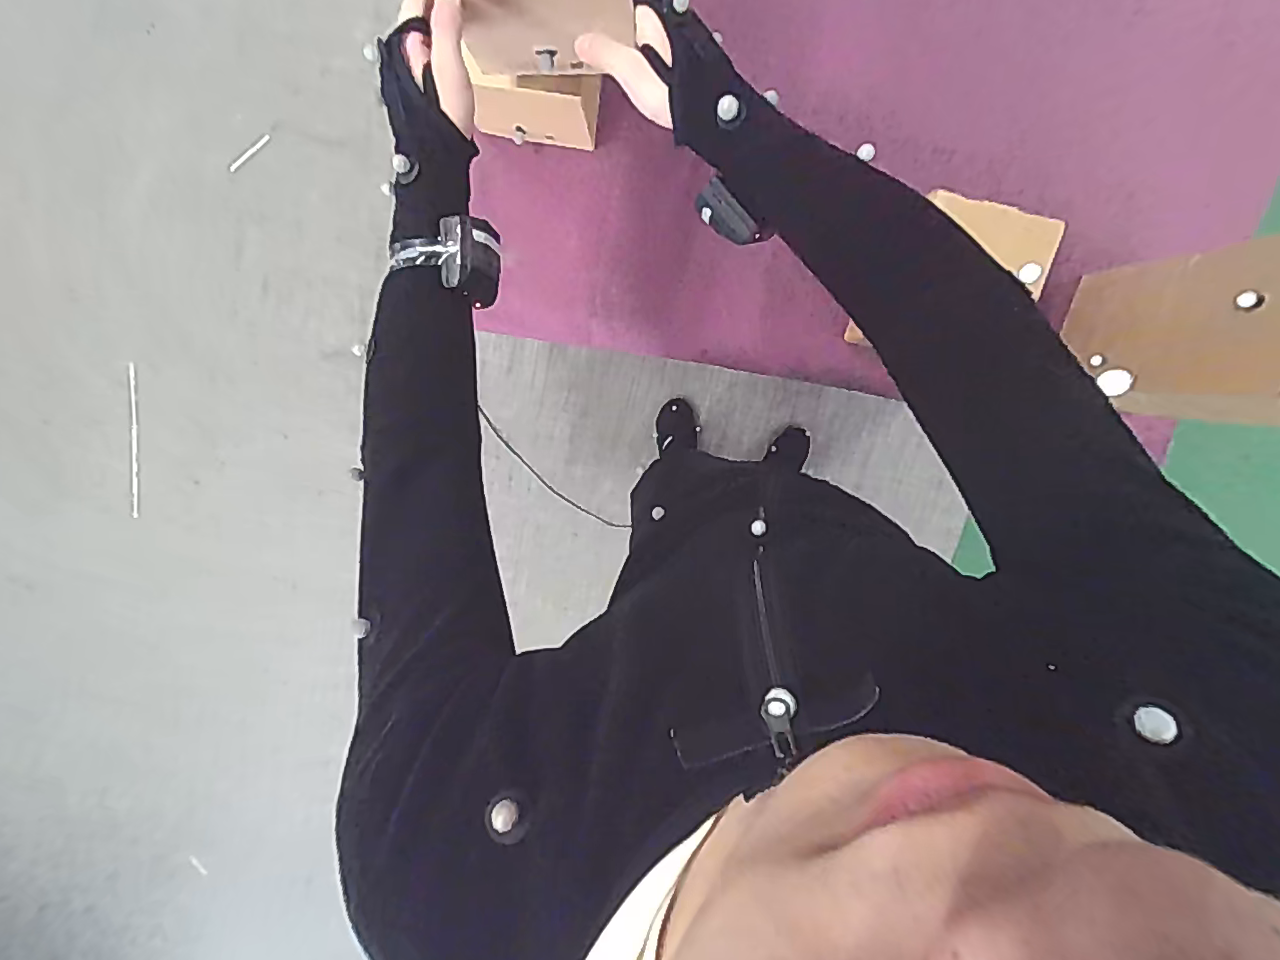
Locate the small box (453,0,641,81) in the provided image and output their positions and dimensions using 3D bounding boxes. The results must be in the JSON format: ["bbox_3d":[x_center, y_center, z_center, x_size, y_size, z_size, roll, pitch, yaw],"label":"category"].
[{"bbox_3d":[-0.083,-0.488,0.474,0.168,0.176,0.179,-1,106,0],"label":"small box"}]

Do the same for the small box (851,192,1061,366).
[{"bbox_3d":[0.412,-0.260,0.743,0.168,0.176,0.179,13,100,-2],"label":"small box"}]

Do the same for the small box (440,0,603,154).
[{"bbox_3d":[-0.137,-0.548,0.685,0.168,0.176,0.179,8,103,-1],"label":"small box"}]

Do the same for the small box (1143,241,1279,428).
[{"bbox_3d":[0.721,-0.156,0.590,0.168,0.176,0.179,14,101,-1],"label":"small box"}]
